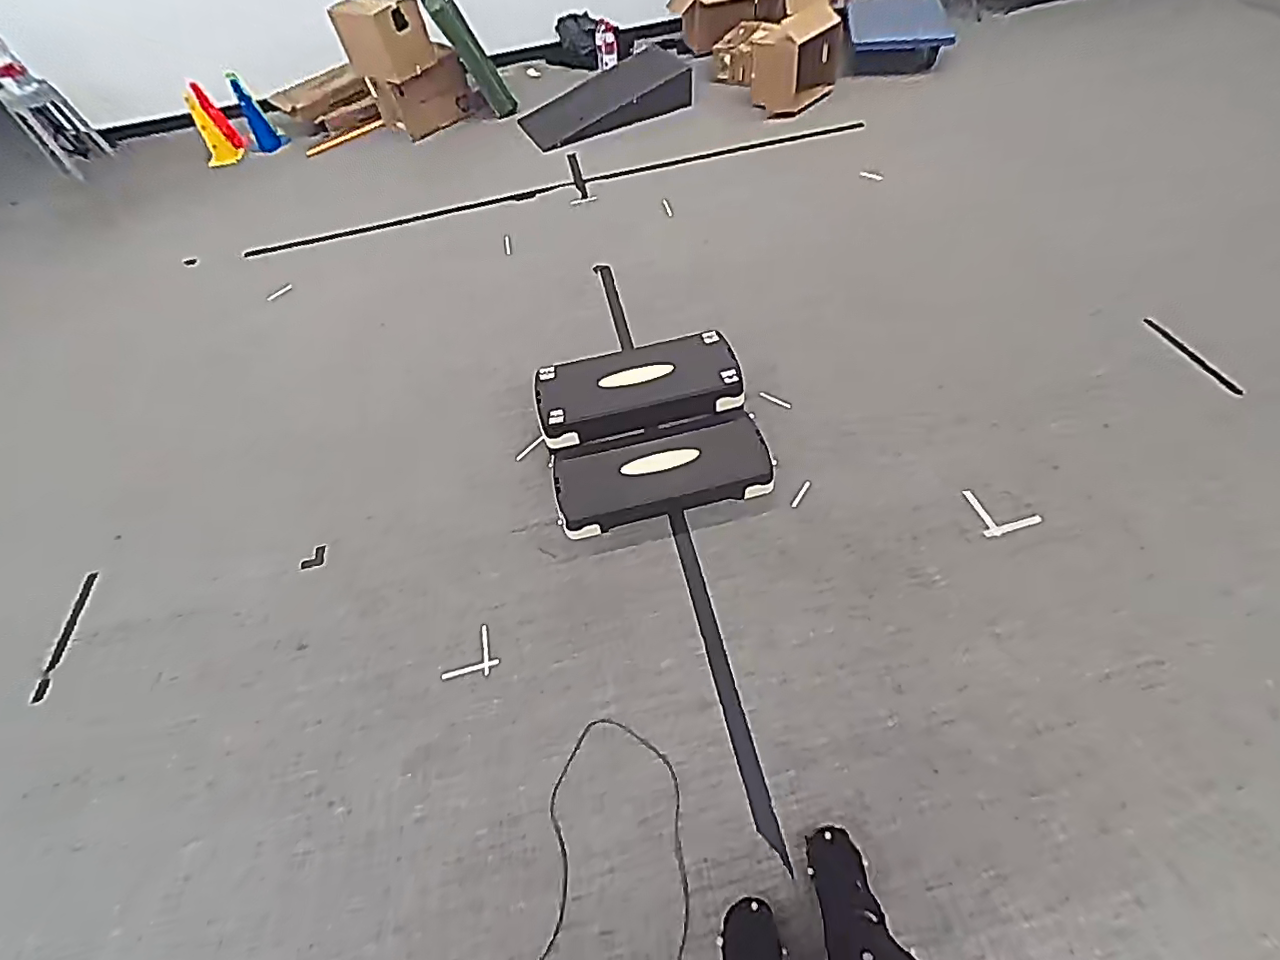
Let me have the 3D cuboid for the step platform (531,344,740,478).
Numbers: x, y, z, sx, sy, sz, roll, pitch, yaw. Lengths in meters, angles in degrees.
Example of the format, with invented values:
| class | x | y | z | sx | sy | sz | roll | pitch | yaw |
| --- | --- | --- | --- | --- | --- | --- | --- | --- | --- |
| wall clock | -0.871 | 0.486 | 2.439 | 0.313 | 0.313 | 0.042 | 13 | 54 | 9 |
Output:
| class | x | y | z | sx | sy | sz | roll | pitch | yaw |
| --- | --- | --- | --- | --- | --- | --- | --- | --- | --- |
| step platform | -0.017 | -0.239 | 1.814 | 0.684 | 0.204 | 0.286 | -14 | 55 | -4 |
